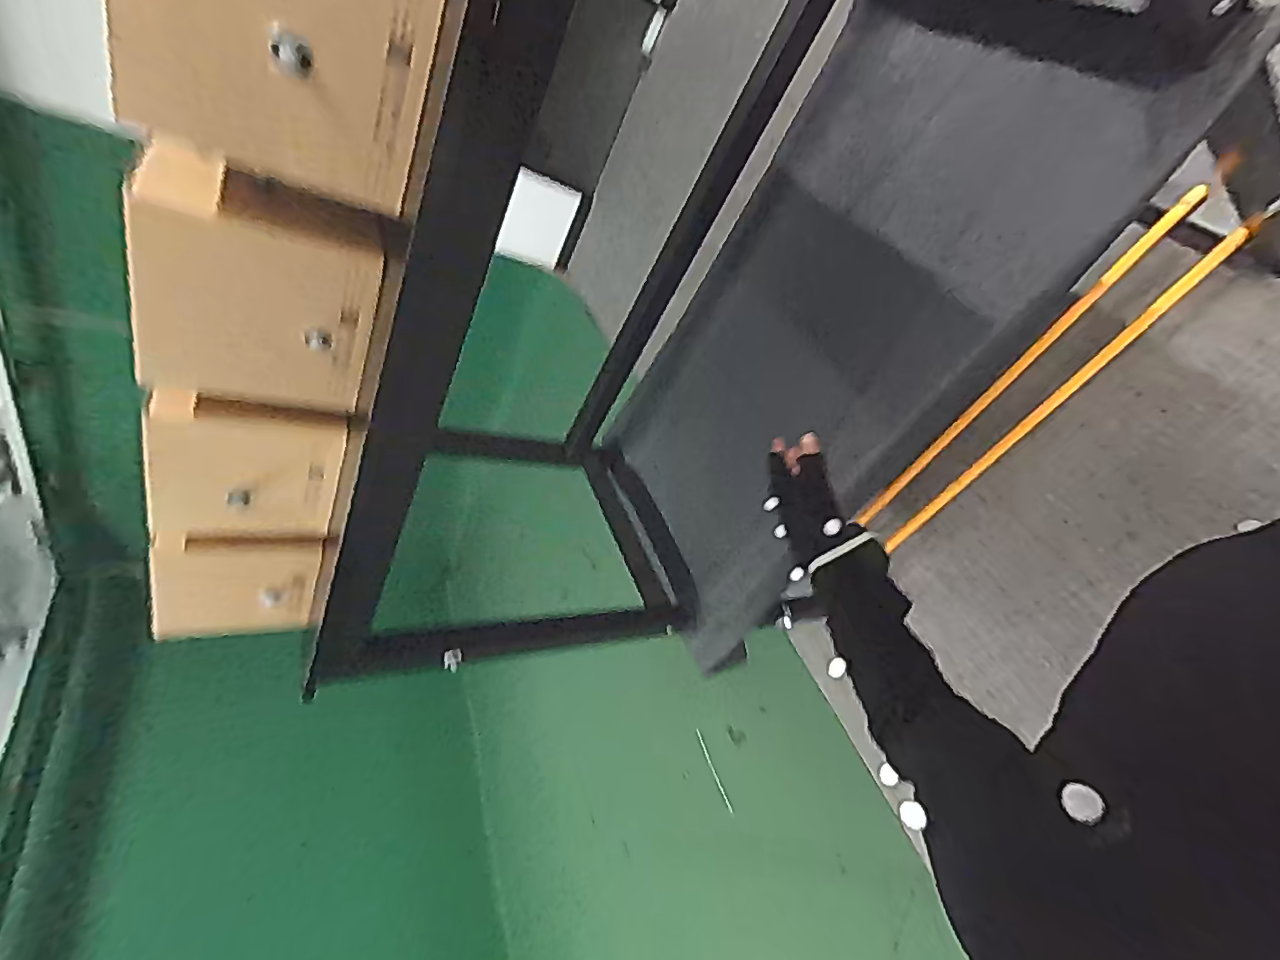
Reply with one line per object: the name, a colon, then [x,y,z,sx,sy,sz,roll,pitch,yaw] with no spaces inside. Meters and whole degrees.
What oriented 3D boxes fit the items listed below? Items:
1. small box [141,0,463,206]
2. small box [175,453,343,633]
small box: [-0.240,-0.329,0.395,0.168,0.176,0.179,-58,44,32]
small box: [-0.517,0.086,0.740,0.168,0.176,0.179,-59,44,33]
